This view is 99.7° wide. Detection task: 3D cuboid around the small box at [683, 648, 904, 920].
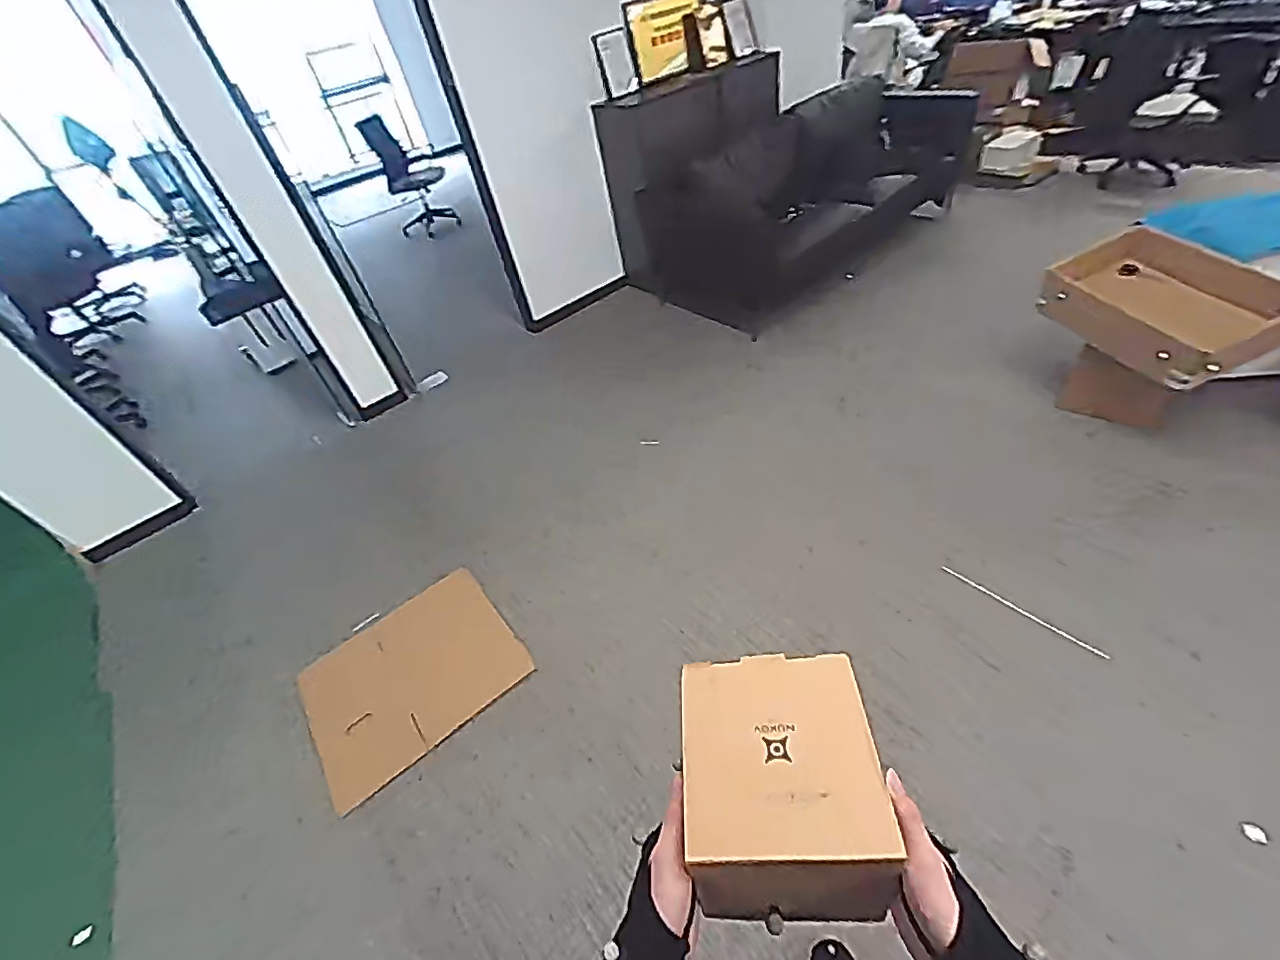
[{"bbox_3d":[0.131,0.287,0.519,0.168,0.176,0.179,-7,38,8],"label":"small box"}]
